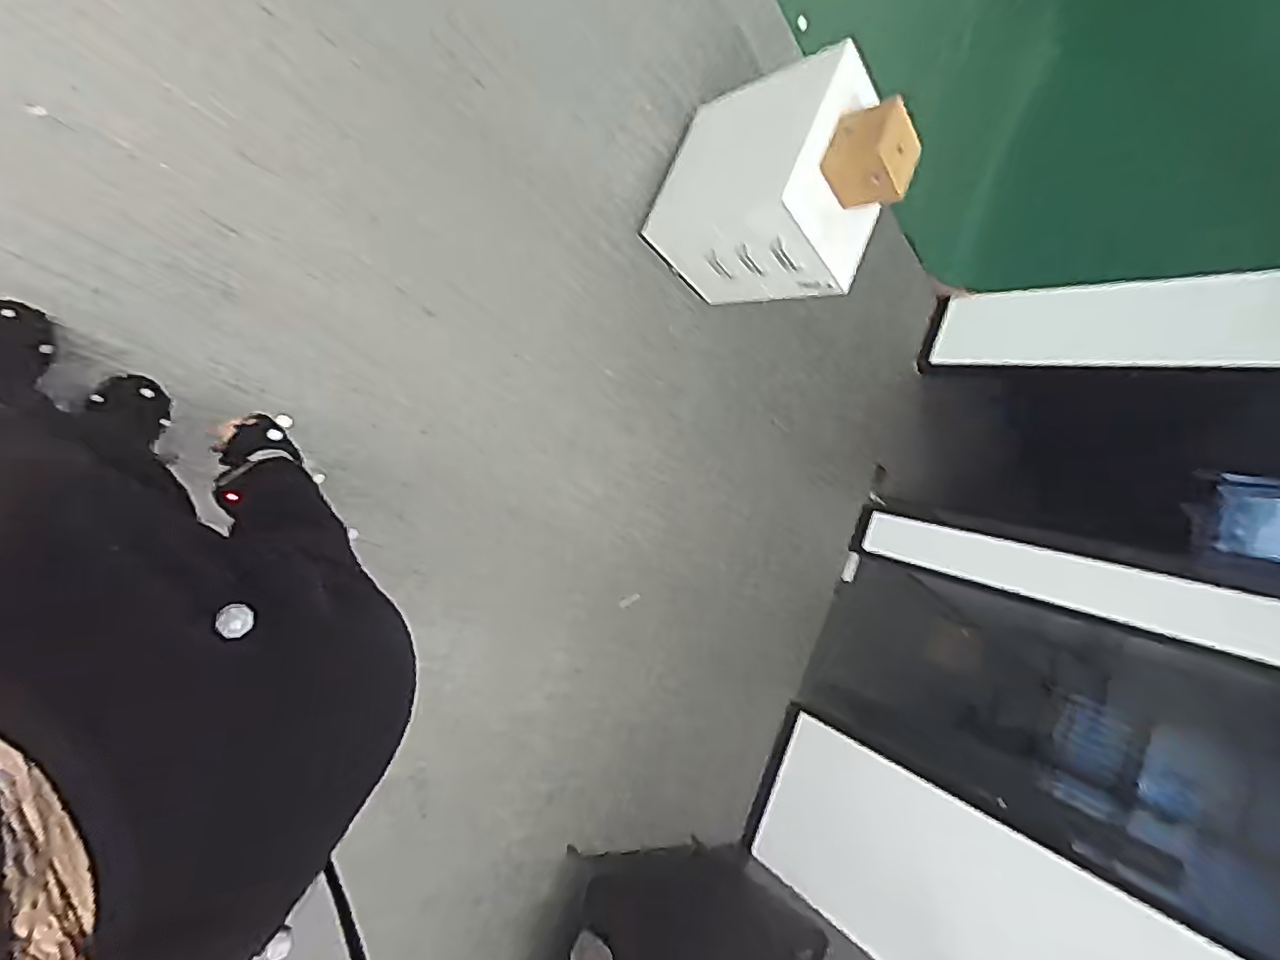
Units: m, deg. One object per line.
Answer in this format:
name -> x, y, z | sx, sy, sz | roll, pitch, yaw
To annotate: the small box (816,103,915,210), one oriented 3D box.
small box -> 0.604, -0.855, 1.453 | 0.179, 0.176, 0.168 | 31, 80, -42
